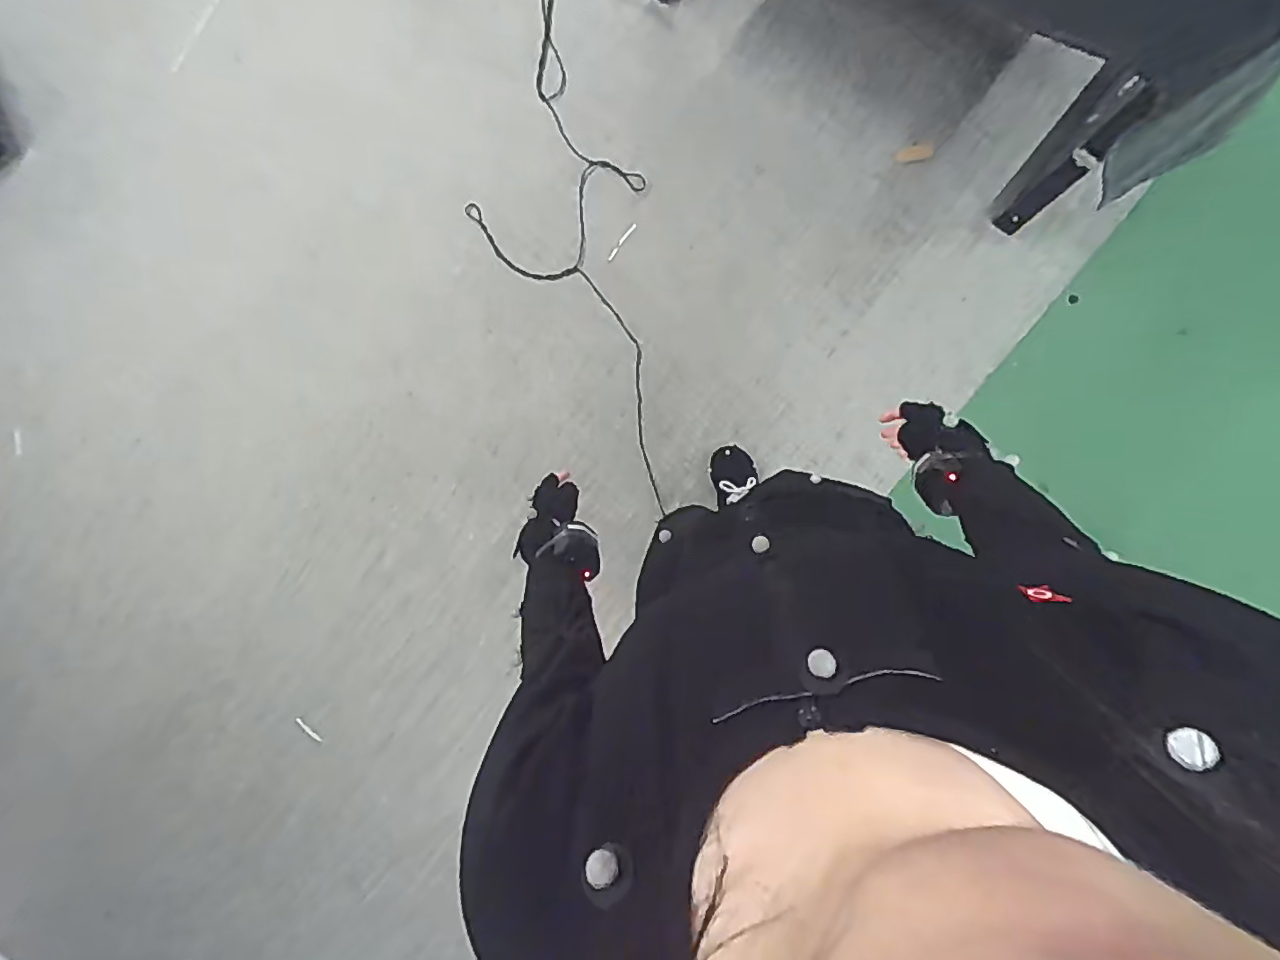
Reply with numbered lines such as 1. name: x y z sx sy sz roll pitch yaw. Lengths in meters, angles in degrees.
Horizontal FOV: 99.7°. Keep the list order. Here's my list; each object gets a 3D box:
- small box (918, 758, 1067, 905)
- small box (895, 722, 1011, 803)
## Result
1. small box: 0.741 0.738 1.163 0.179 0.176 0.168 38 97 6
2. small box: 0.768 0.736 1.325 0.179 0.176 0.168 39 96 7
